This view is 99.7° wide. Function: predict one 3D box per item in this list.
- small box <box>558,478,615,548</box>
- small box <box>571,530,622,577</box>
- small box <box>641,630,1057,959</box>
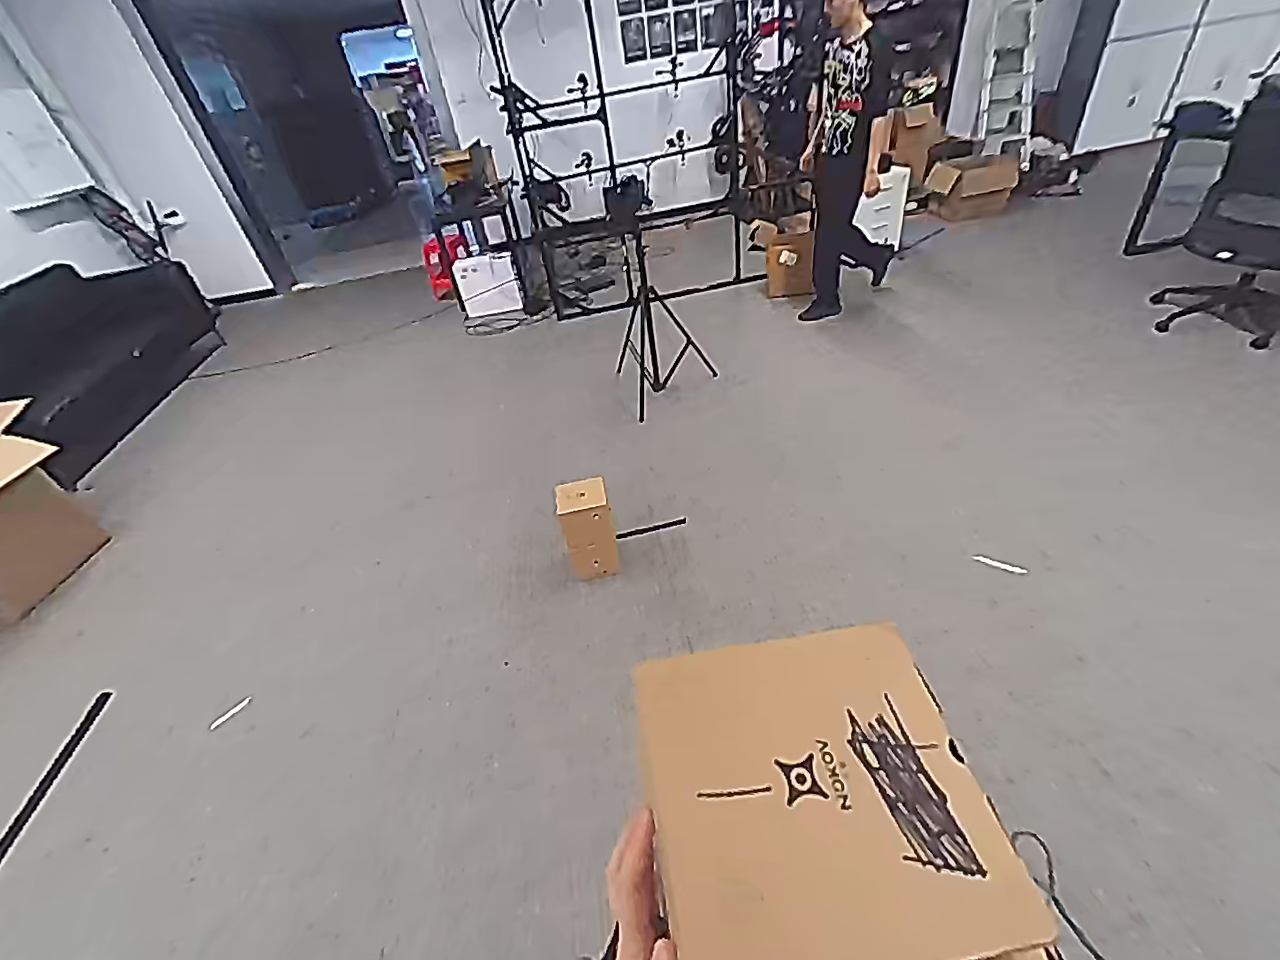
[{"bbox_3d":[-0.189,0.119,1.947,0.179,0.176,0.168,-12,37,-2],"label":"small box"},{"bbox_3d":[-0.167,0.250,2.047,0.168,0.176,0.179,-12,39,-2],"label":"small box"},{"bbox_3d":[0.098,0.222,0.352,0.179,0.176,0.168,-8,45,-6],"label":"small box"}]
